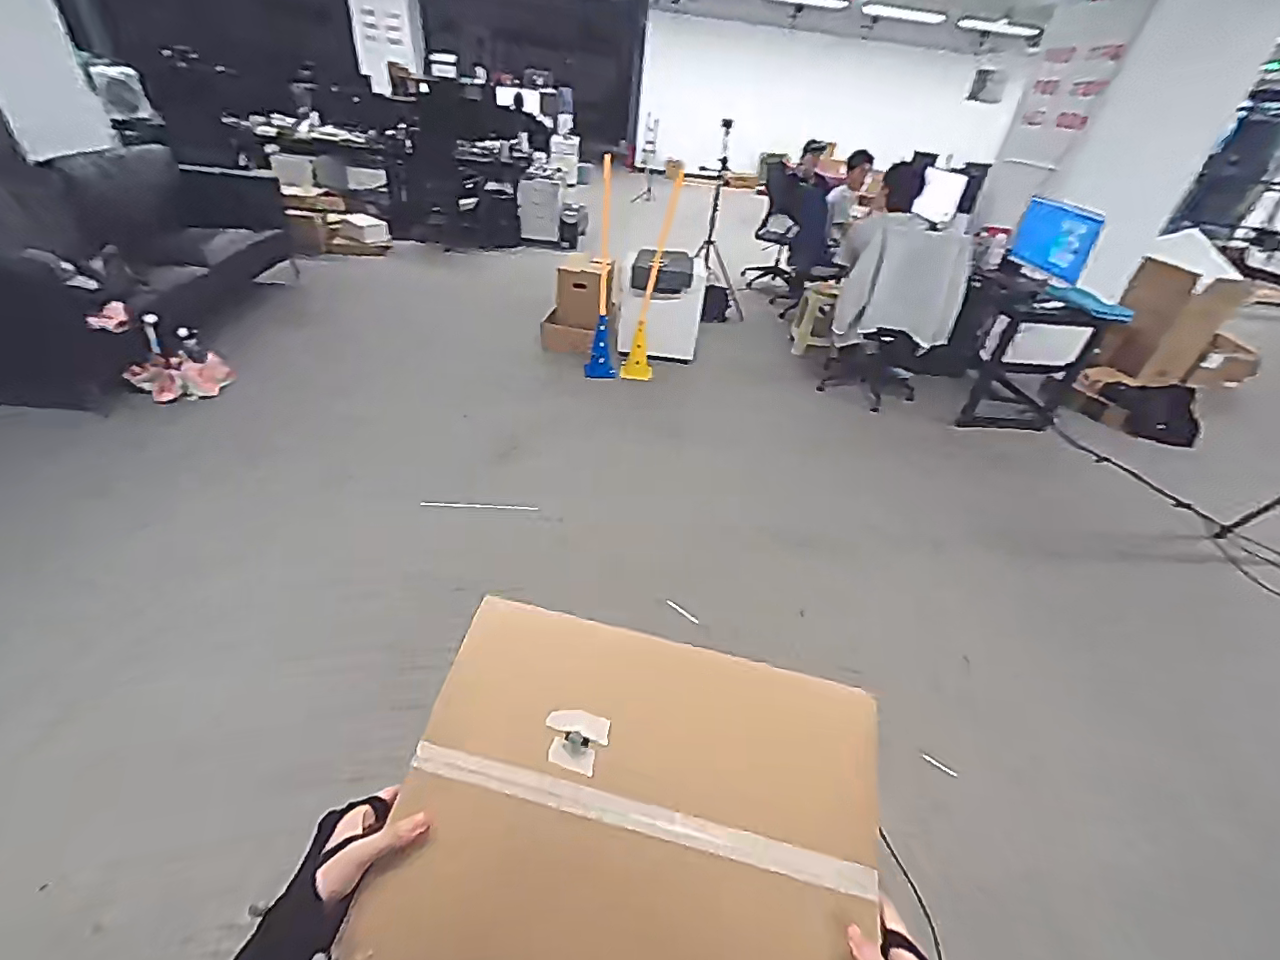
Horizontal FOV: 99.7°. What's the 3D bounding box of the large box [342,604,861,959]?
[{"bbox_3d":[-0.007,0.376,0.602,0.408,0.320,0.320,12,55,8],"label":"large box"}]
